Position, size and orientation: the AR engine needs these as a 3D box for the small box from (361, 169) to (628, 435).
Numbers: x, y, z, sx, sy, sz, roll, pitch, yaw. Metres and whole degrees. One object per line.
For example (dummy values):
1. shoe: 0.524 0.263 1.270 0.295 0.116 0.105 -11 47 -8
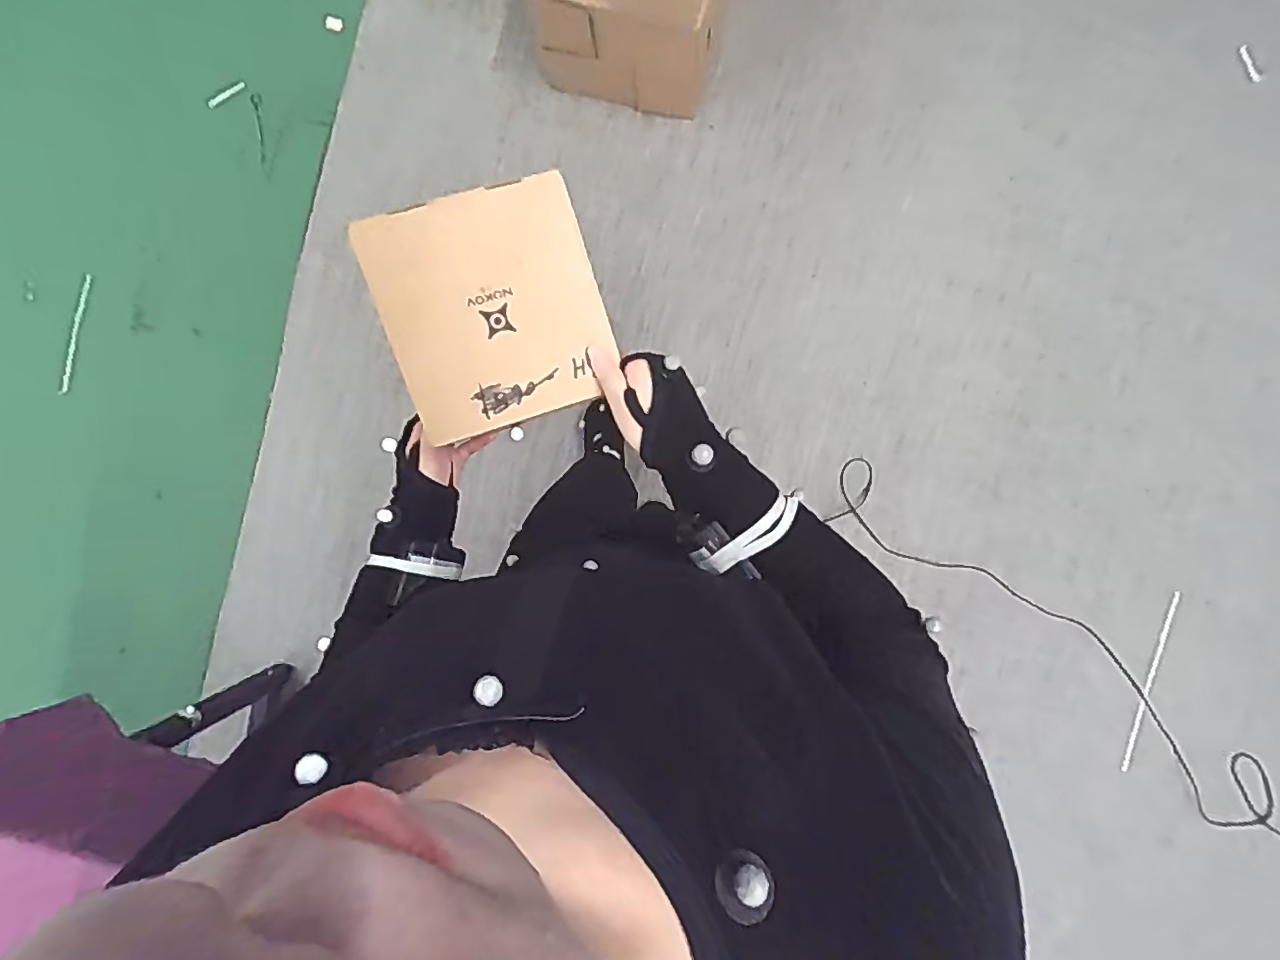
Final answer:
1. small box: -0.123 -0.146 0.501 0.168 0.176 0.179 -18 99 -7

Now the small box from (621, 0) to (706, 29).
1. small box: 0.059 -1.046 1.065 0.179 0.176 0.168 17 92 4
